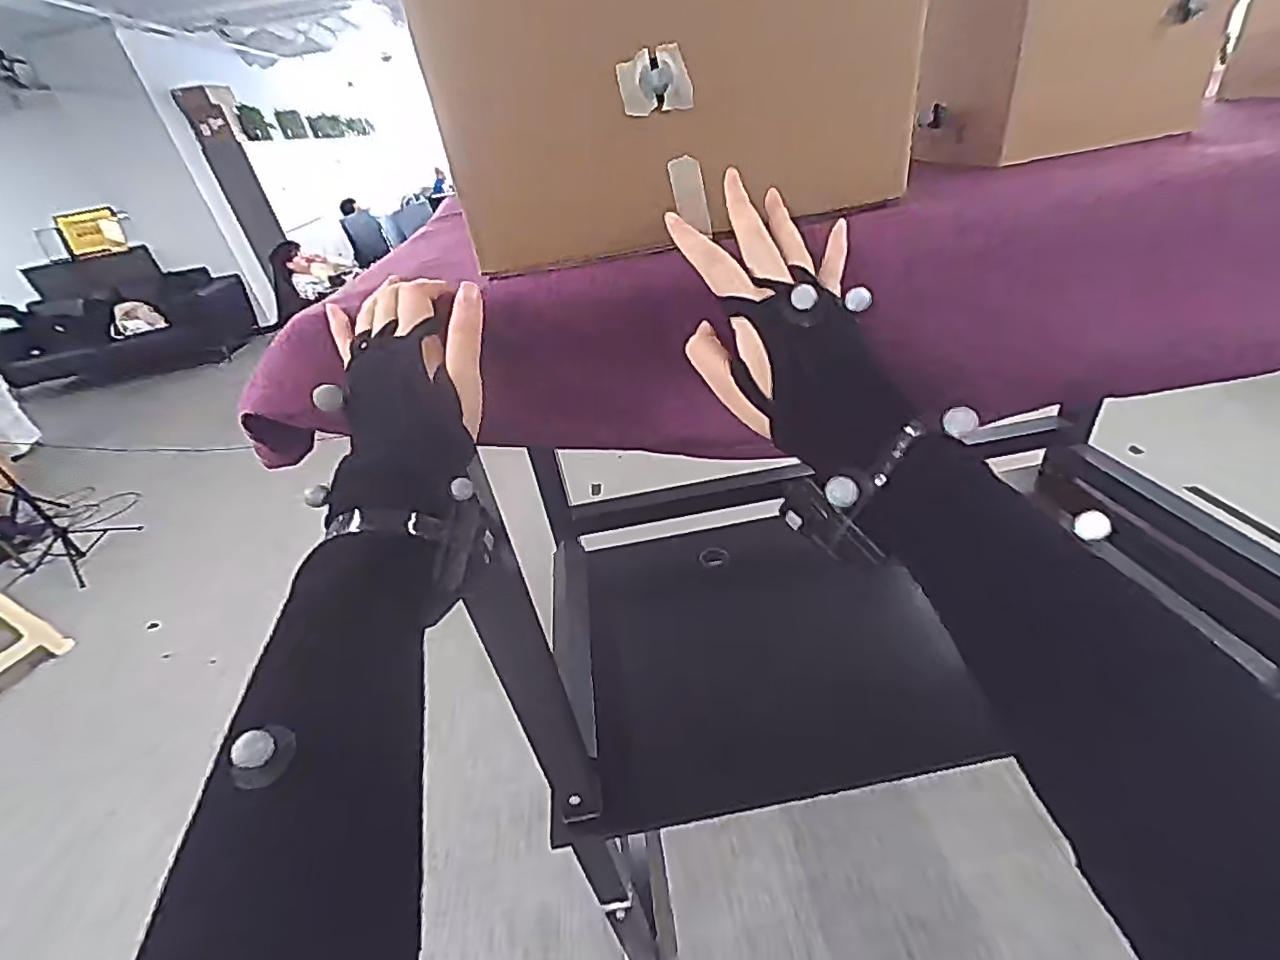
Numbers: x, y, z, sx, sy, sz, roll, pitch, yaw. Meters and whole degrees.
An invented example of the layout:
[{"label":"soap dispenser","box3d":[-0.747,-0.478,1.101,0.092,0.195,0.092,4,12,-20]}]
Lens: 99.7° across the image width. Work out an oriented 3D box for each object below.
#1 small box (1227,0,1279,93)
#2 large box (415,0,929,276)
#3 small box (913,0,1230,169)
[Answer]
[{"label":"small box","box3d":[0.710,-0.458,0.481,0.179,0.176,0.168,-10,33,0]},{"label":"large box","box3d":[-0.010,-0.392,0.458,0.320,0.320,0.408,-12,33,-4]},{"label":"small box","box3d":[0.361,-0.389,0.477,0.179,0.176,0.168,-11,33,-1]}]
